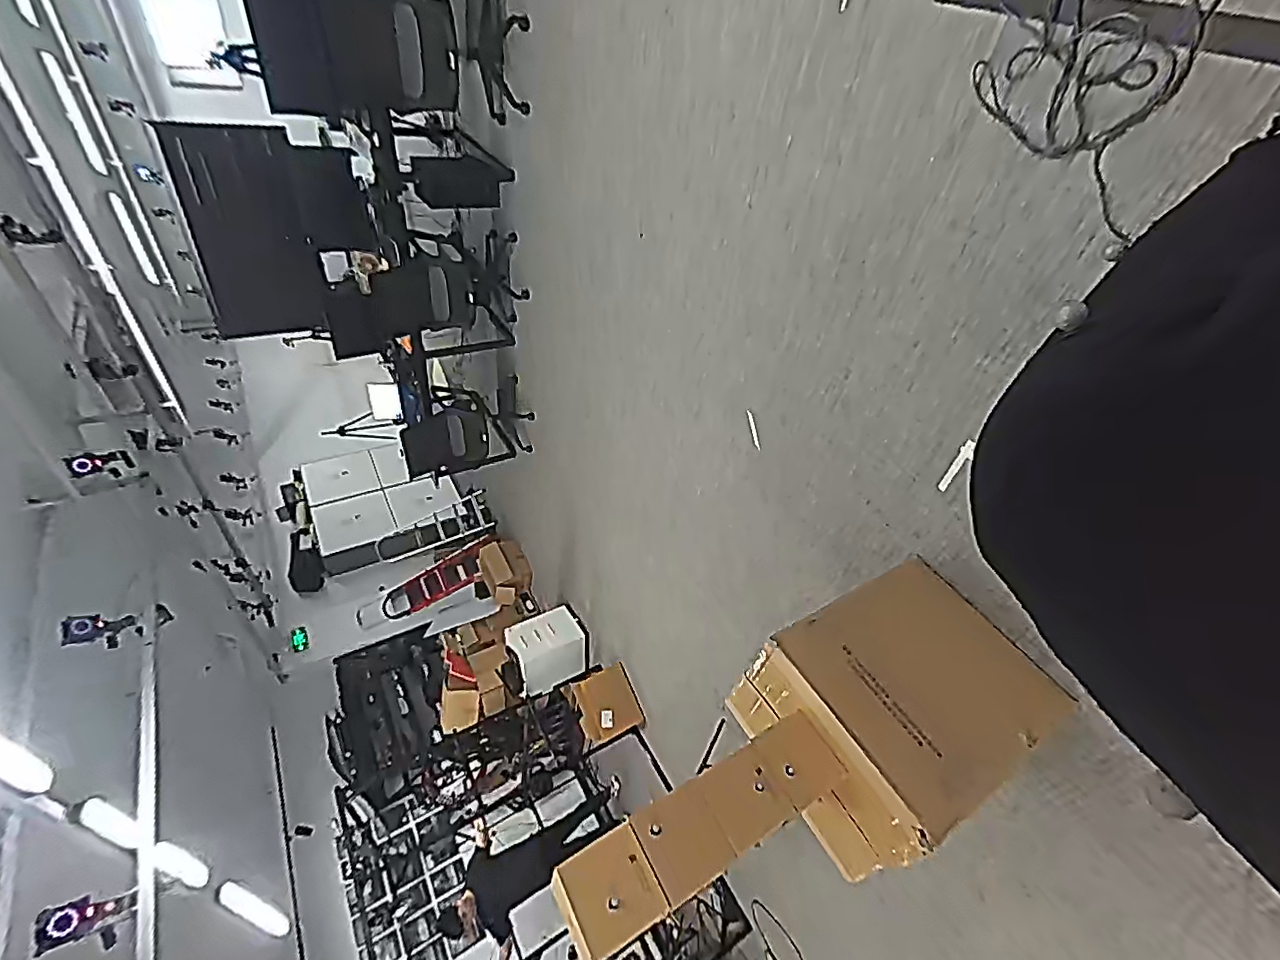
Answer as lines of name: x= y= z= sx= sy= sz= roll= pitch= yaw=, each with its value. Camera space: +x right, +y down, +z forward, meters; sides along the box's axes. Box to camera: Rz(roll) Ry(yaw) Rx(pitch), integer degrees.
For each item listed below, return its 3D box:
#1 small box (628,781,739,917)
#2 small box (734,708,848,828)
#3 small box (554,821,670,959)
small box: x=0.081 y=0.779 z=1.157 sx=0.179 sy=0.176 sz=0.168 roll=52 pitch=147 yaw=34
small box: x=0.363 y=0.689 z=1.301 sx=0.179 sy=0.176 sz=0.168 roll=53 pitch=147 yaw=34
small box: x=-0.058 y=0.825 z=1.086 sx=0.168 sy=0.176 sz=0.179 roll=52 pitch=146 yaw=34
